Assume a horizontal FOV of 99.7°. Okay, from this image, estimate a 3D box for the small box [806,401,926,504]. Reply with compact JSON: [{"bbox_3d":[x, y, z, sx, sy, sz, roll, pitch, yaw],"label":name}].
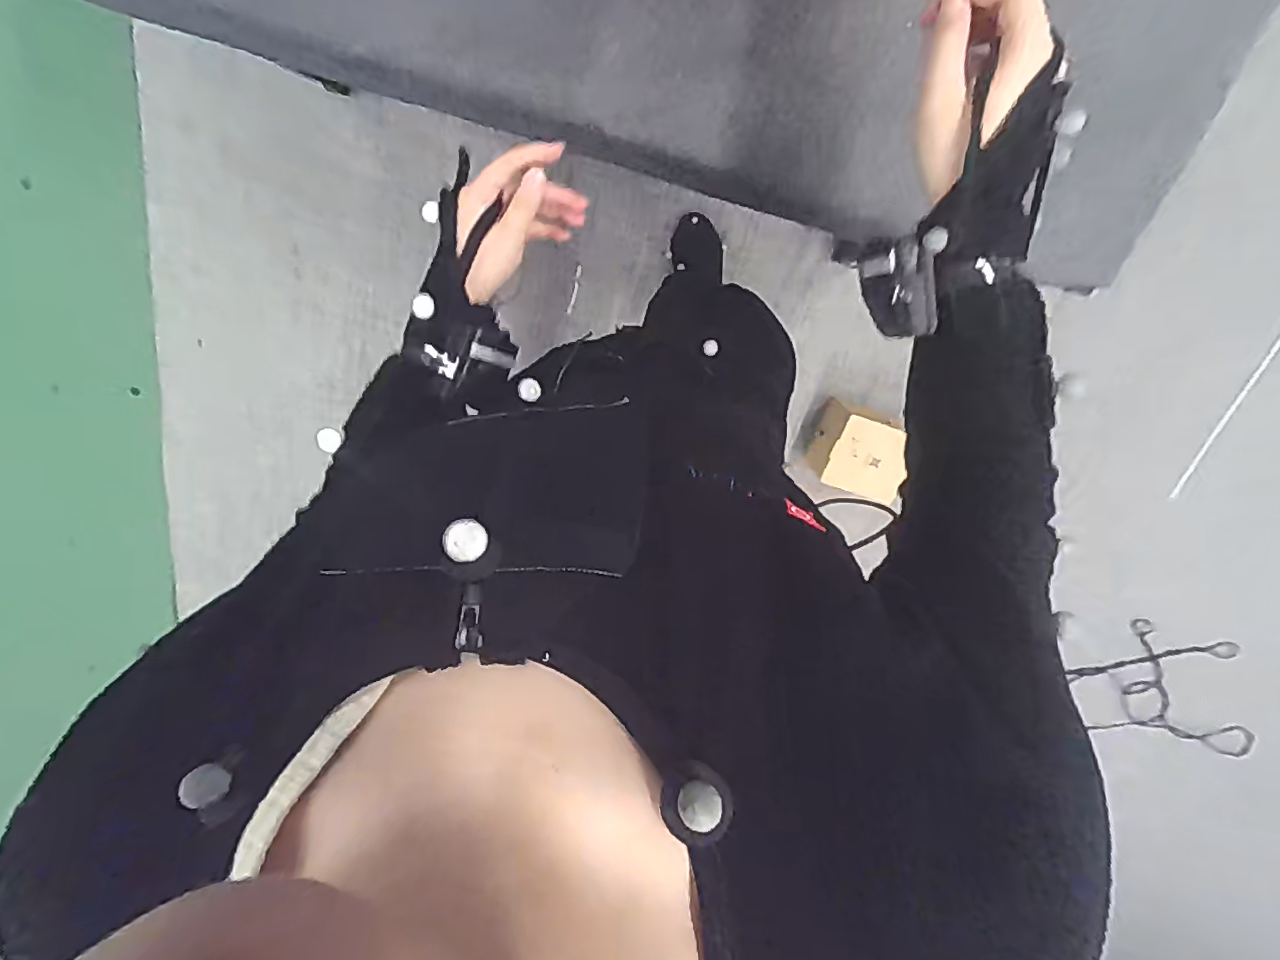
[{"bbox_3d":[0.508,-0.070,1.243,0.179,0.176,0.168,17,111,-3],"label":"small box"}]
